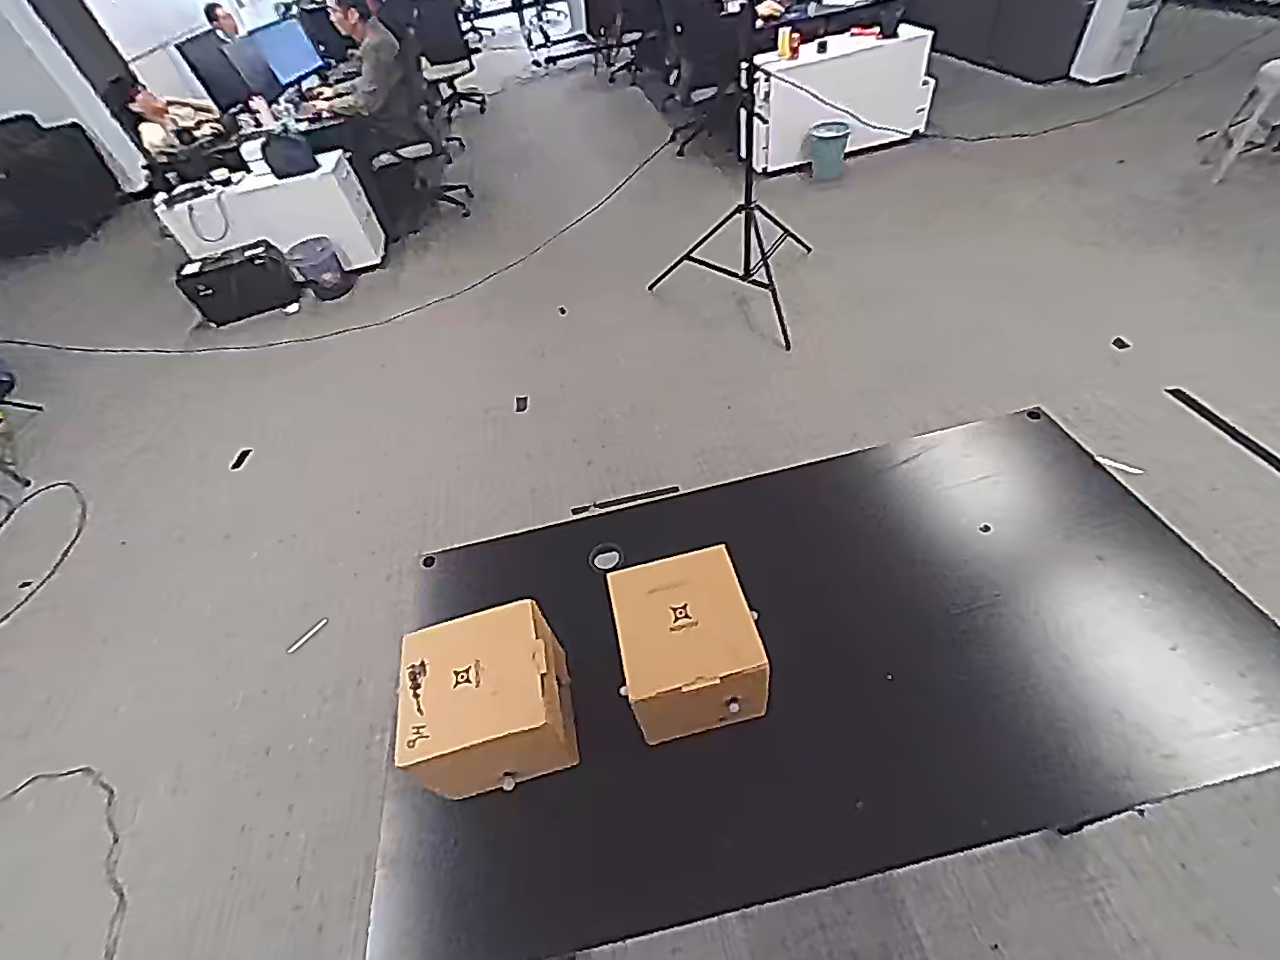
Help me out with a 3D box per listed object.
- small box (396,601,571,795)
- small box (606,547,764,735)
[{"bbox_3d":[-0.194,0.289,0.711,0.179,0.176,0.168,-14,48,-4],"label":"small box"},{"bbox_3d":[0.059,0.223,0.728,0.168,0.176,0.179,-13,47,-3],"label":"small box"}]
